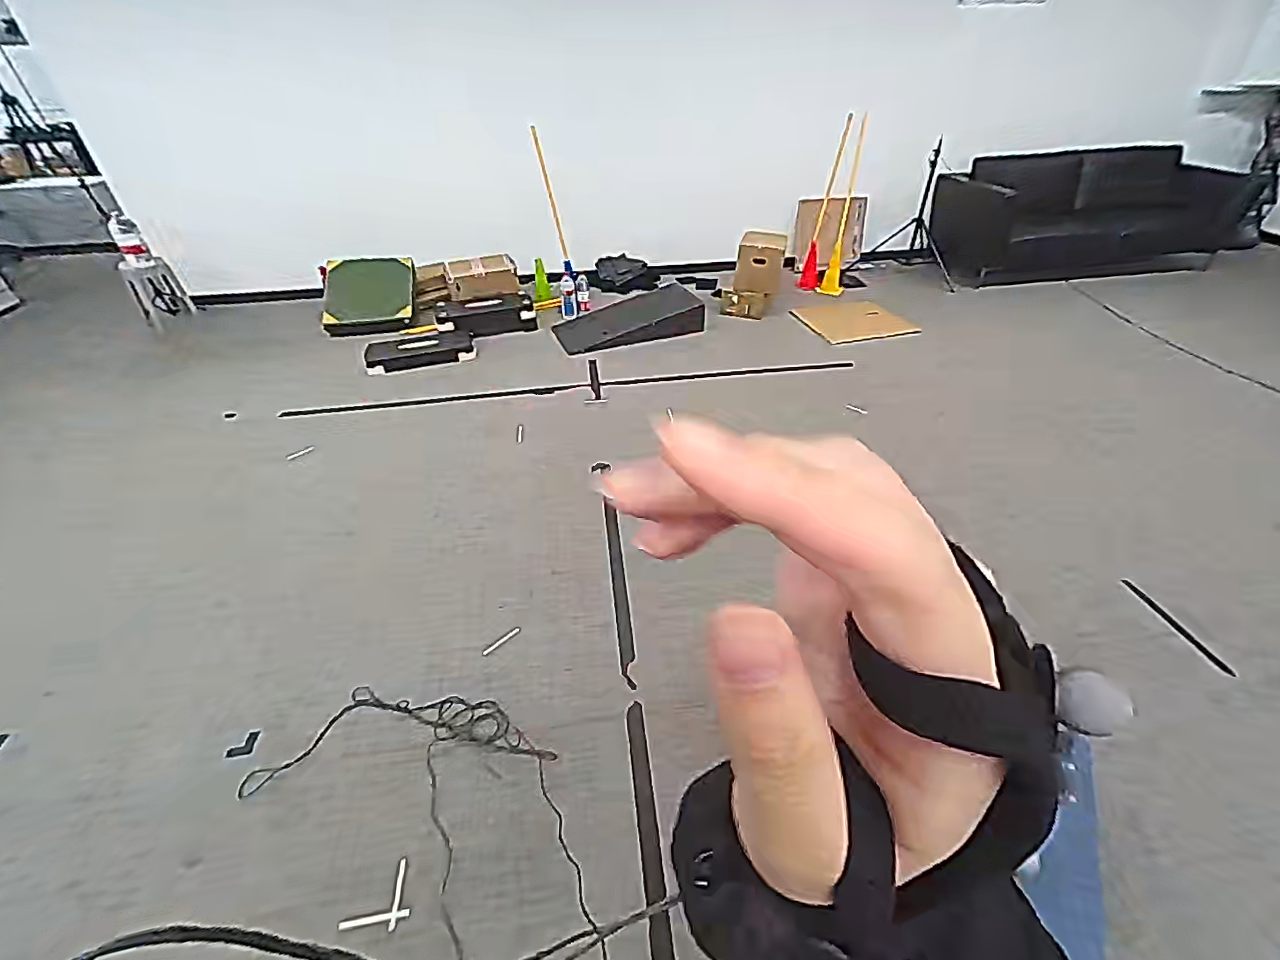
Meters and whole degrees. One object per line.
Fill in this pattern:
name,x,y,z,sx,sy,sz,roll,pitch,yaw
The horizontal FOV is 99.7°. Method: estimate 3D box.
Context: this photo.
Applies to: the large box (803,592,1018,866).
large box,0.609,0.547,1.236,0.320,0.320,0.408,24,44,27
